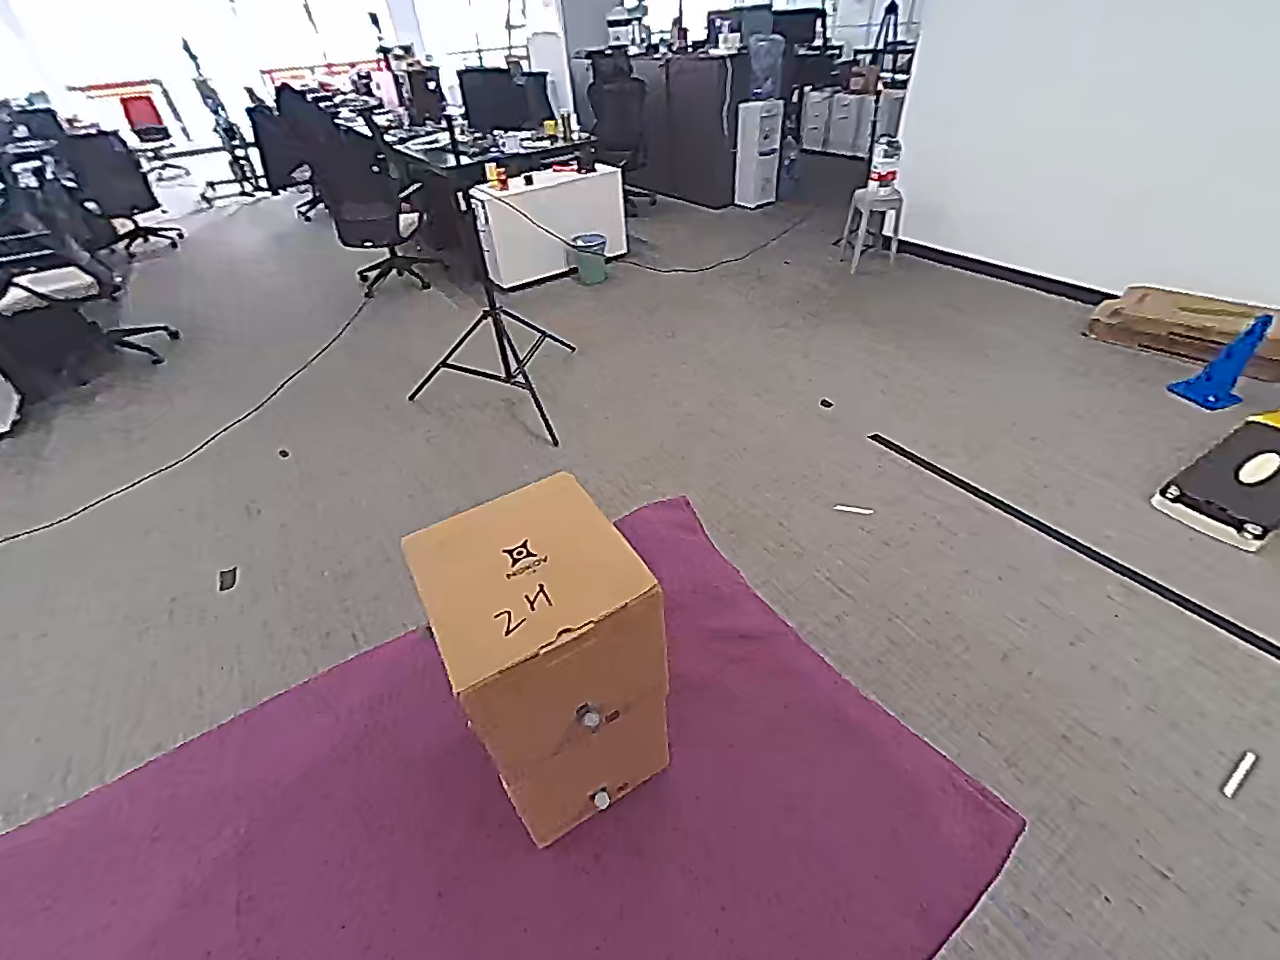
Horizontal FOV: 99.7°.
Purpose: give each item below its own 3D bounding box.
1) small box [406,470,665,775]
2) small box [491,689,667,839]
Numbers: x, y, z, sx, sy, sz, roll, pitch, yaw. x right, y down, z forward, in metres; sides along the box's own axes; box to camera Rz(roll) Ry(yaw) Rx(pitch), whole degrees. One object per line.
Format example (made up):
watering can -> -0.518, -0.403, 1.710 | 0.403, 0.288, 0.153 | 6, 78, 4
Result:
small box -> -0.090, 0.125, 0.498 | 0.168, 0.176, 0.179 | -24, 44, -20
small box -> -0.083, 0.251, 0.605 | 0.168, 0.176, 0.179 | -23, 44, -20
